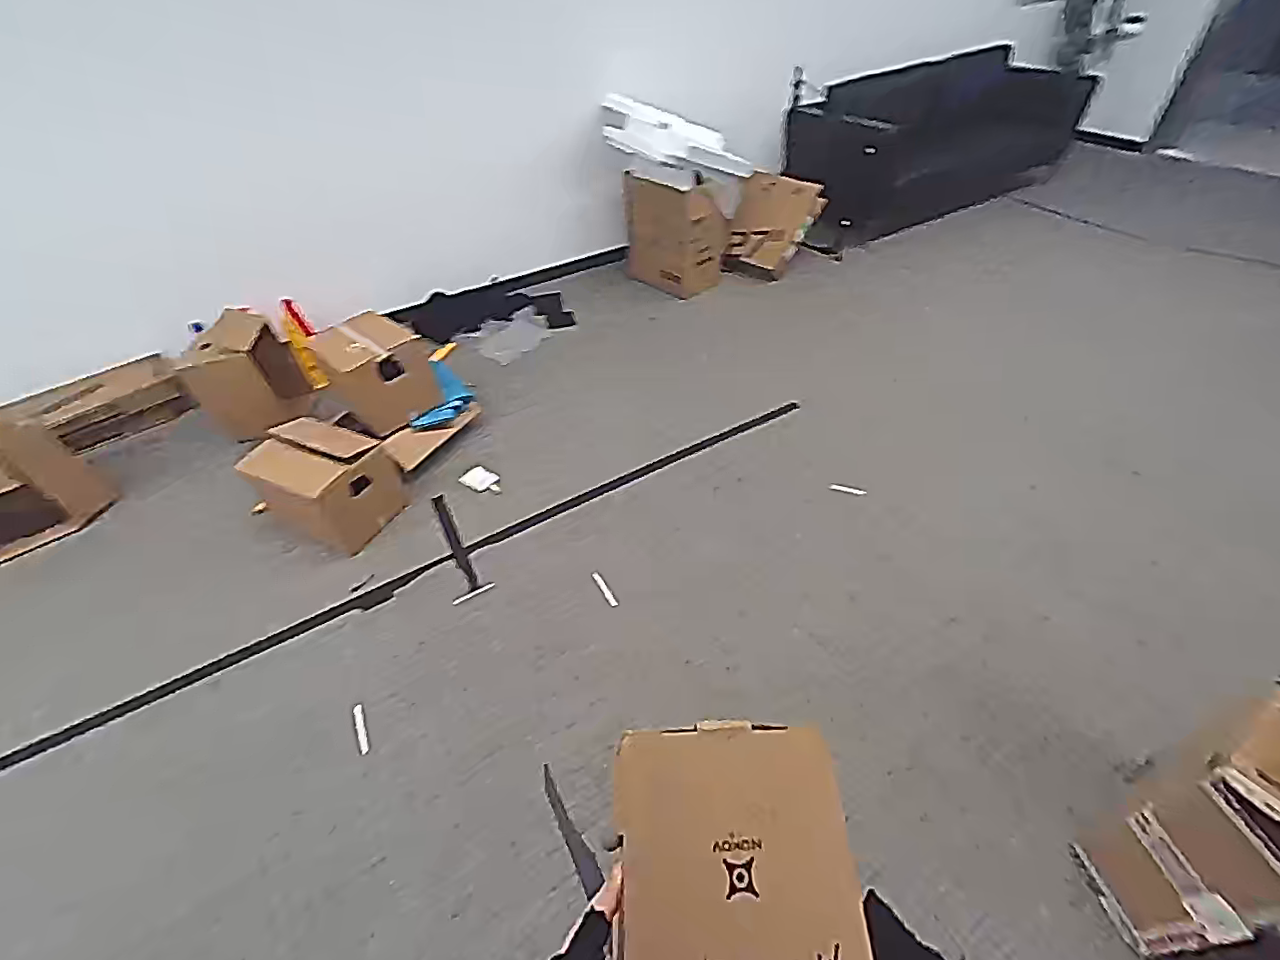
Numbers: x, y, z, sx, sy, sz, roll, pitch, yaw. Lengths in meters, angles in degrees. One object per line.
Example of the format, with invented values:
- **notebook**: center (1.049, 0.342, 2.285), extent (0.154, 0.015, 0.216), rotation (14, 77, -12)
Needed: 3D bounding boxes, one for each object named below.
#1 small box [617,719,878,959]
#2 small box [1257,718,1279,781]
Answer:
- **small box**: center (0.067, 0.309, 0.448), extent (0.168, 0.176, 0.179), rotation (1, 56, -5)
- **small box**: center (1.144, 0.433, 0.840), extent (0.168, 0.176, 0.179), rotation (-28, 48, -25)
